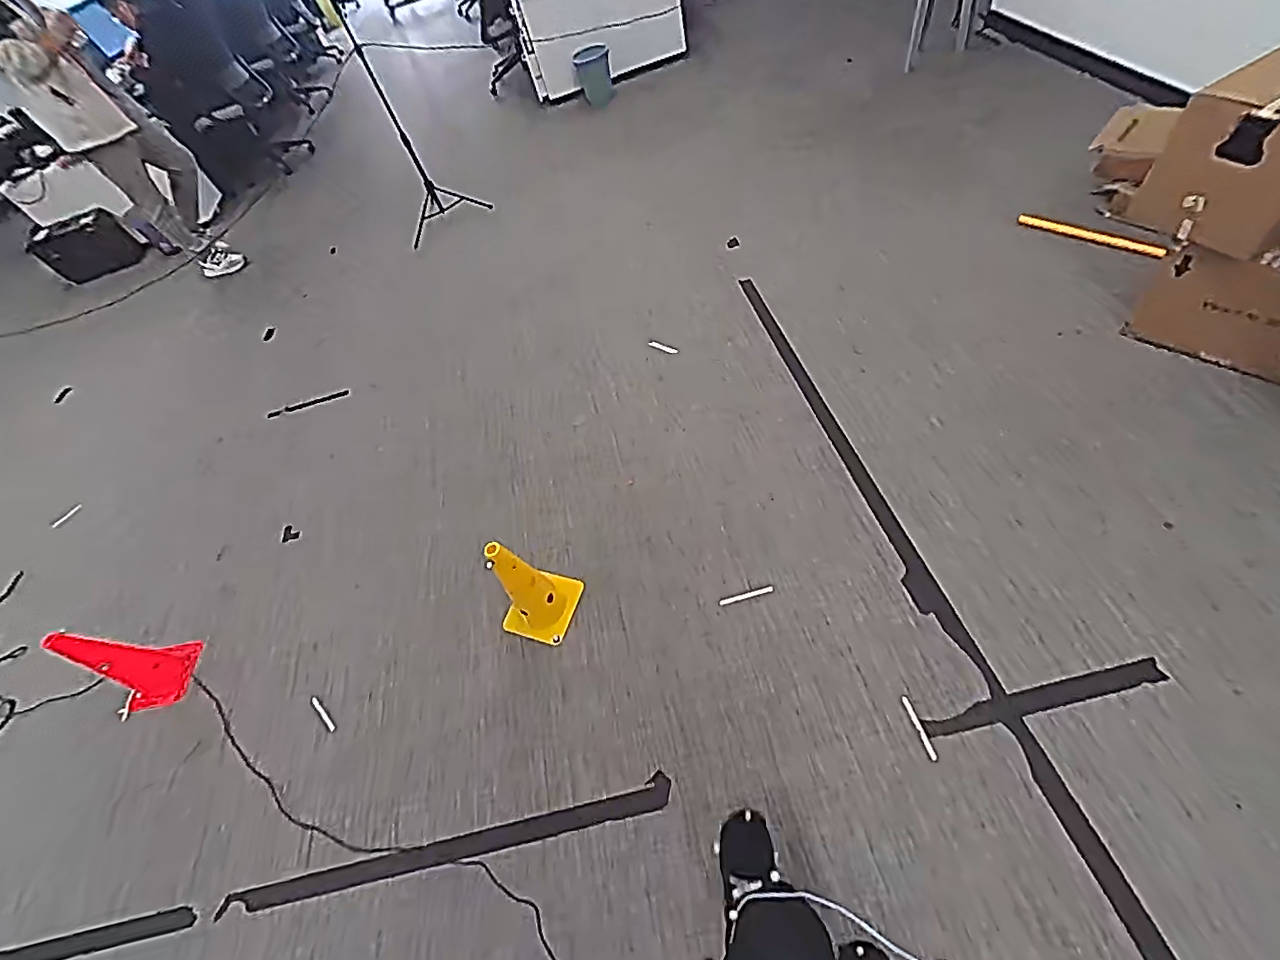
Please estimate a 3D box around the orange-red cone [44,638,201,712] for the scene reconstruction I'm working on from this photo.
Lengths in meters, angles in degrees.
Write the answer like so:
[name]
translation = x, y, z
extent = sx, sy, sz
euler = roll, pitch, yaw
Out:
[orange-red cone]
translation = -1.581, 0.550, 1.626
extent = 0.199, 0.360, 0.198
euler = -11, 54, 7
